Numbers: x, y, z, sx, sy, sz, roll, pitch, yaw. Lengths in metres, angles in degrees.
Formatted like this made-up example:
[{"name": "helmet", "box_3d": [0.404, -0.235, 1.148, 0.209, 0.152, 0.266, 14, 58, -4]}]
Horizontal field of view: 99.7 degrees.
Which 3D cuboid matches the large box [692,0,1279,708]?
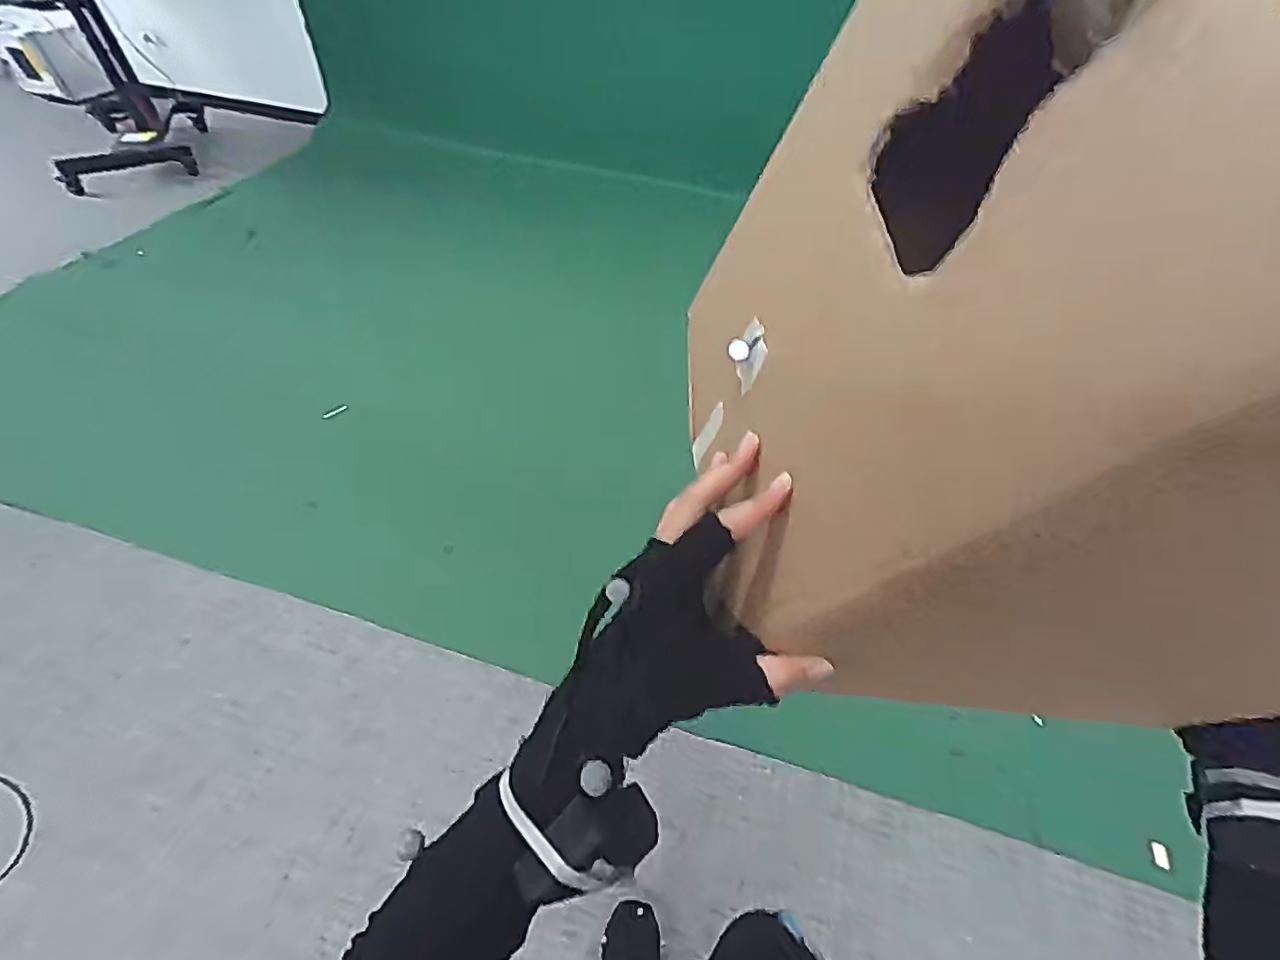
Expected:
[{"name": "large box", "box_3d": [0.281, -0.054, 0.335, 0.408, 0.320, 0.320, 12, 57, -17]}]
